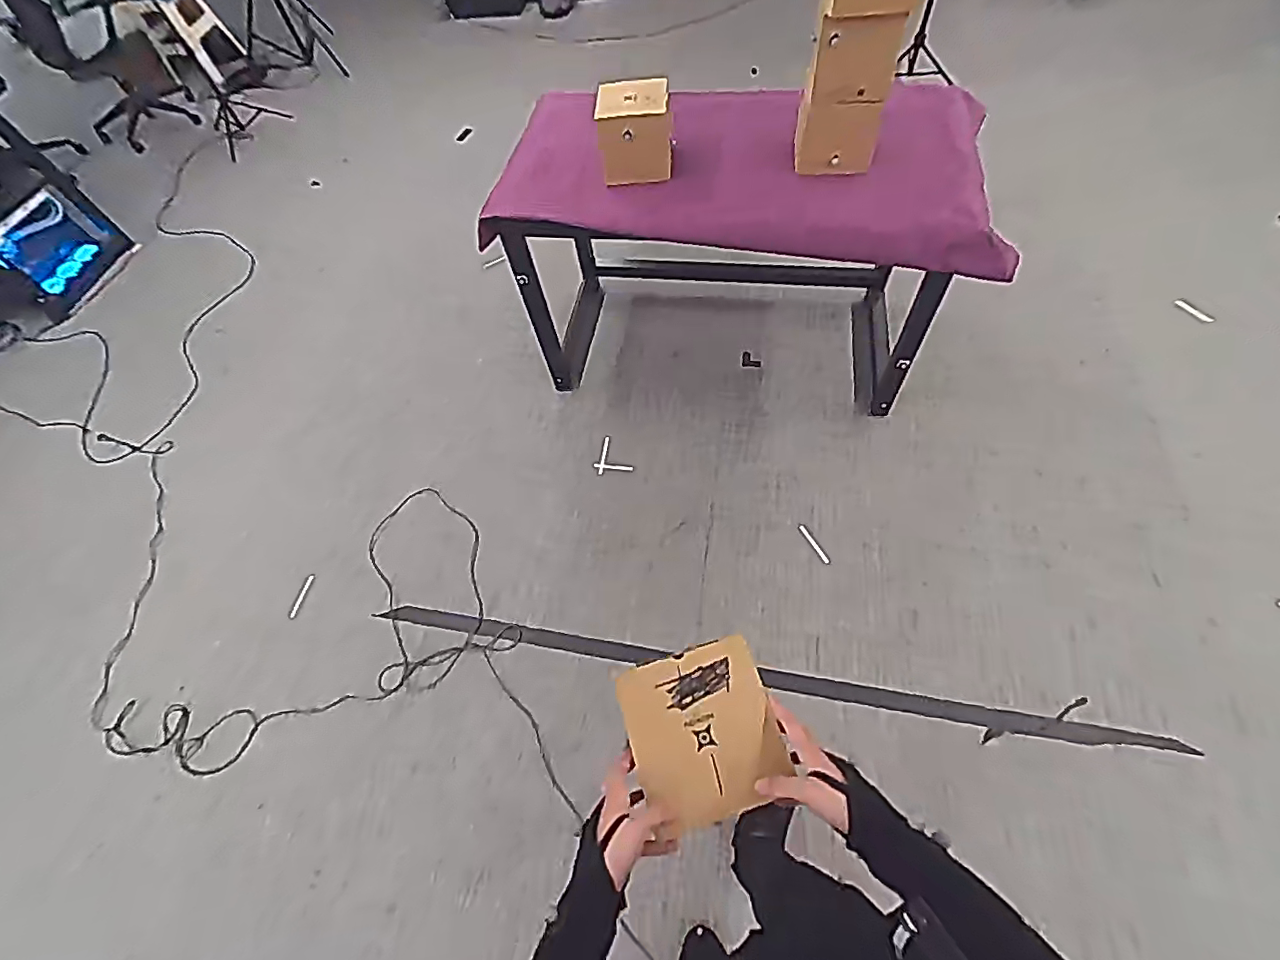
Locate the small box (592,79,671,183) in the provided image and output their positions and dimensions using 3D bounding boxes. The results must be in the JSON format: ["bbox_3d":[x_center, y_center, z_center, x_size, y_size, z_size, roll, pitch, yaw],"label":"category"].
[{"bbox_3d":[-0.015,-0.882,1.378,0.179,0.176,0.168,0,60,6],"label":"small box"}]

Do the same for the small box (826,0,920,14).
[{"bbox_3d":[0.450,-1.018,1.021,0.179,0.176,0.168,1,60,7],"label":"small box"}]

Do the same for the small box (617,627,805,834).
[{"bbox_3d":[0.073,0.303,0.664,0.168,0.176,0.179,-16,64,-7],"label":"small box"}]

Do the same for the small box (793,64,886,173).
[{"bbox_3d":[0.477,-0.873,1.315,0.179,0.176,0.168,4,61,8],"label":"small box"}]
